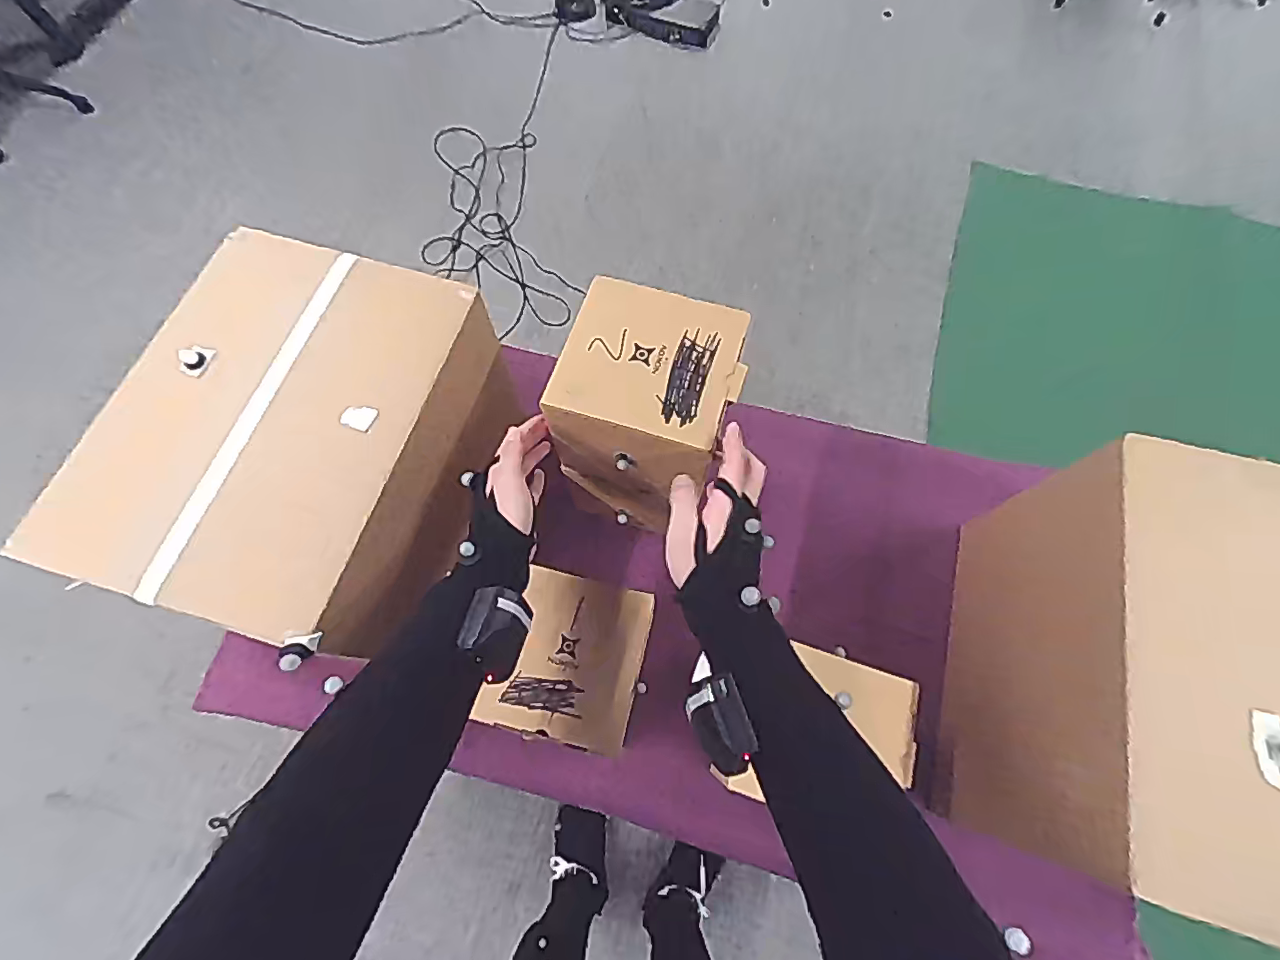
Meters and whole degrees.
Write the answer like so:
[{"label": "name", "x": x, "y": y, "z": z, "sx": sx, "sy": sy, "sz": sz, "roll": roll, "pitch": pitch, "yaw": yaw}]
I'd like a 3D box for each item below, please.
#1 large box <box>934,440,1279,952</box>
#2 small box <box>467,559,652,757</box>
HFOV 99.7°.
[{"label": "large box", "x": 0.564, "y": 0.227, "z": 0.590, "sx": 0.320, "sy": 0.320, "sz": 0.408, "roll": 16, "pitch": 70, "yaw": 8}, {"label": "small box", "x": -0.084, "y": 0.218, "z": 0.666, "sx": 0.168, "sy": 0.176, "sz": 0.179, "roll": 14, "pitch": 68, "yaw": 5}]
